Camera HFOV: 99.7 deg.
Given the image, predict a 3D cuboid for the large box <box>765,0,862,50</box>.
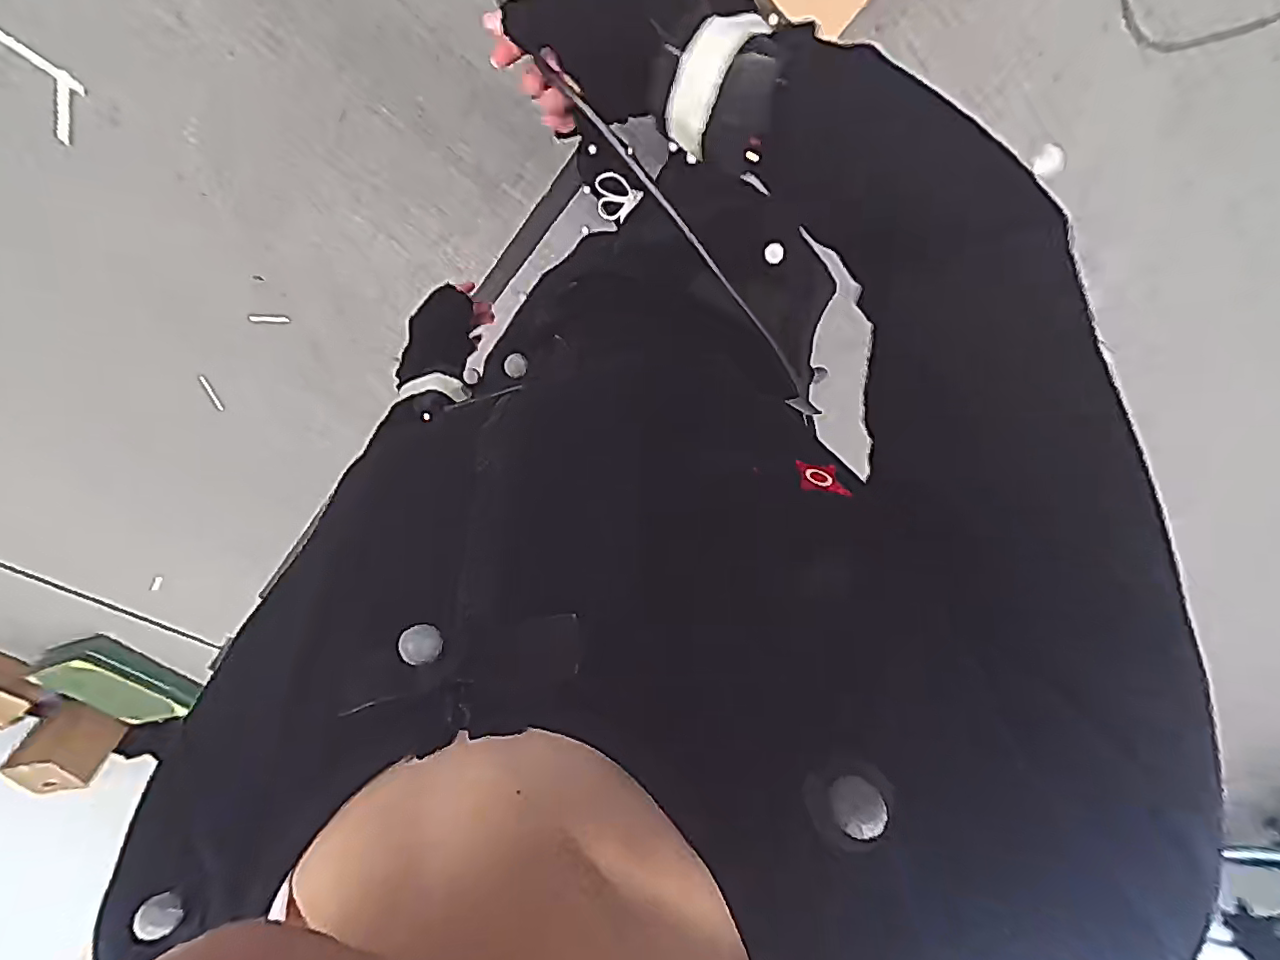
[{"bbox_3d":[0.188,-0.850,0.667,0.408,0.320,0.320,32,129,-22],"label":"large box"}]
